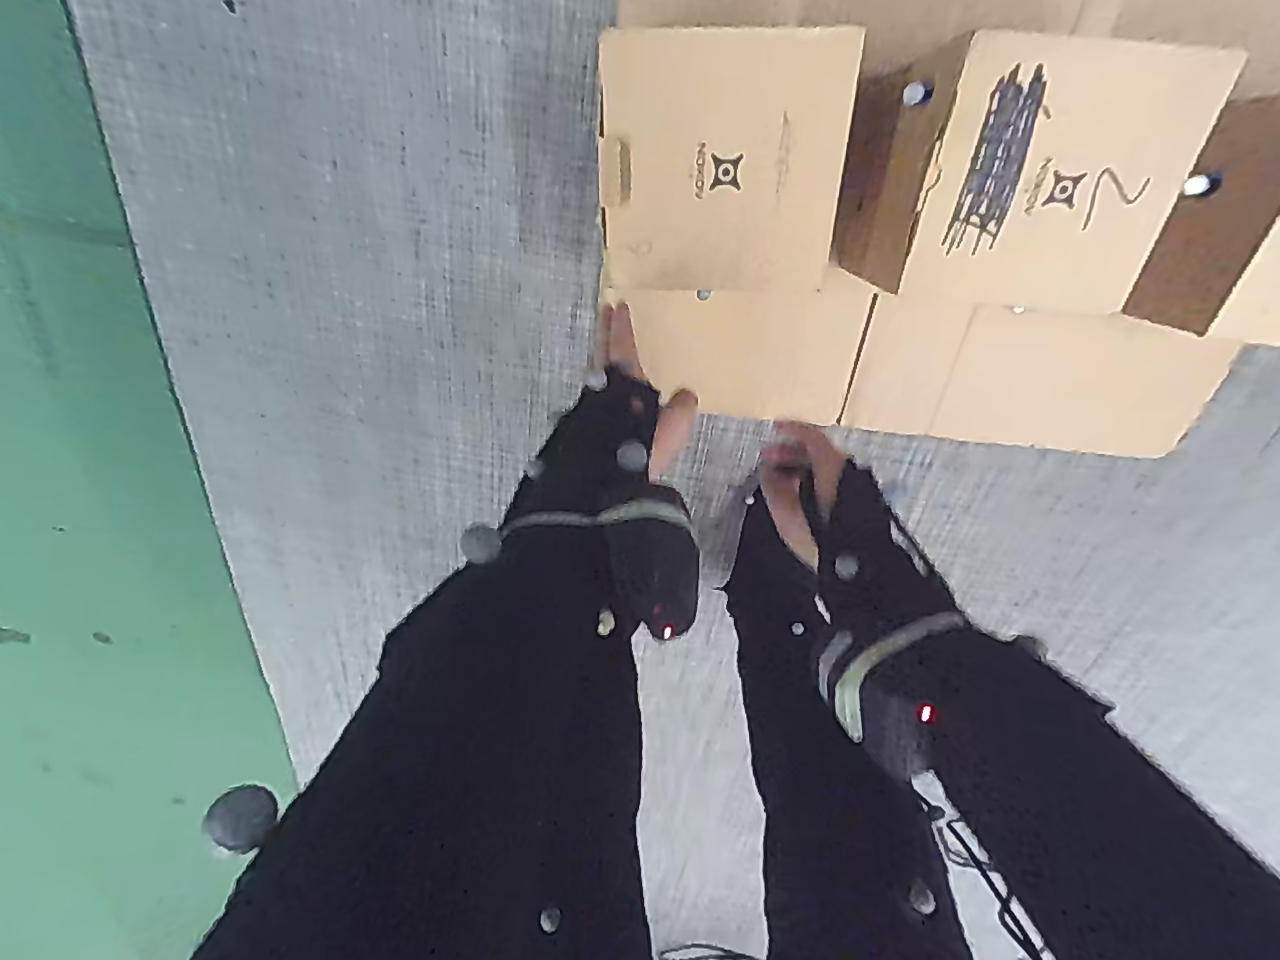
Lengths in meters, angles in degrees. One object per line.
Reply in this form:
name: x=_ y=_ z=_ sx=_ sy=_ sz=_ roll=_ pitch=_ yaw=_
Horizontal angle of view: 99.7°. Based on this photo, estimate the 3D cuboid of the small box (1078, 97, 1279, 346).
small box: x=0.534 y=-0.209 z=0.455 sx=0.179 sy=0.176 sz=0.168 roll=7 pitch=119 yaw=0

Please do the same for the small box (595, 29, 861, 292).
small box: x=0.061 y=-0.262 z=0.462 sx=0.179 sy=0.176 sz=0.168 roll=1 pitch=120 yaw=2
